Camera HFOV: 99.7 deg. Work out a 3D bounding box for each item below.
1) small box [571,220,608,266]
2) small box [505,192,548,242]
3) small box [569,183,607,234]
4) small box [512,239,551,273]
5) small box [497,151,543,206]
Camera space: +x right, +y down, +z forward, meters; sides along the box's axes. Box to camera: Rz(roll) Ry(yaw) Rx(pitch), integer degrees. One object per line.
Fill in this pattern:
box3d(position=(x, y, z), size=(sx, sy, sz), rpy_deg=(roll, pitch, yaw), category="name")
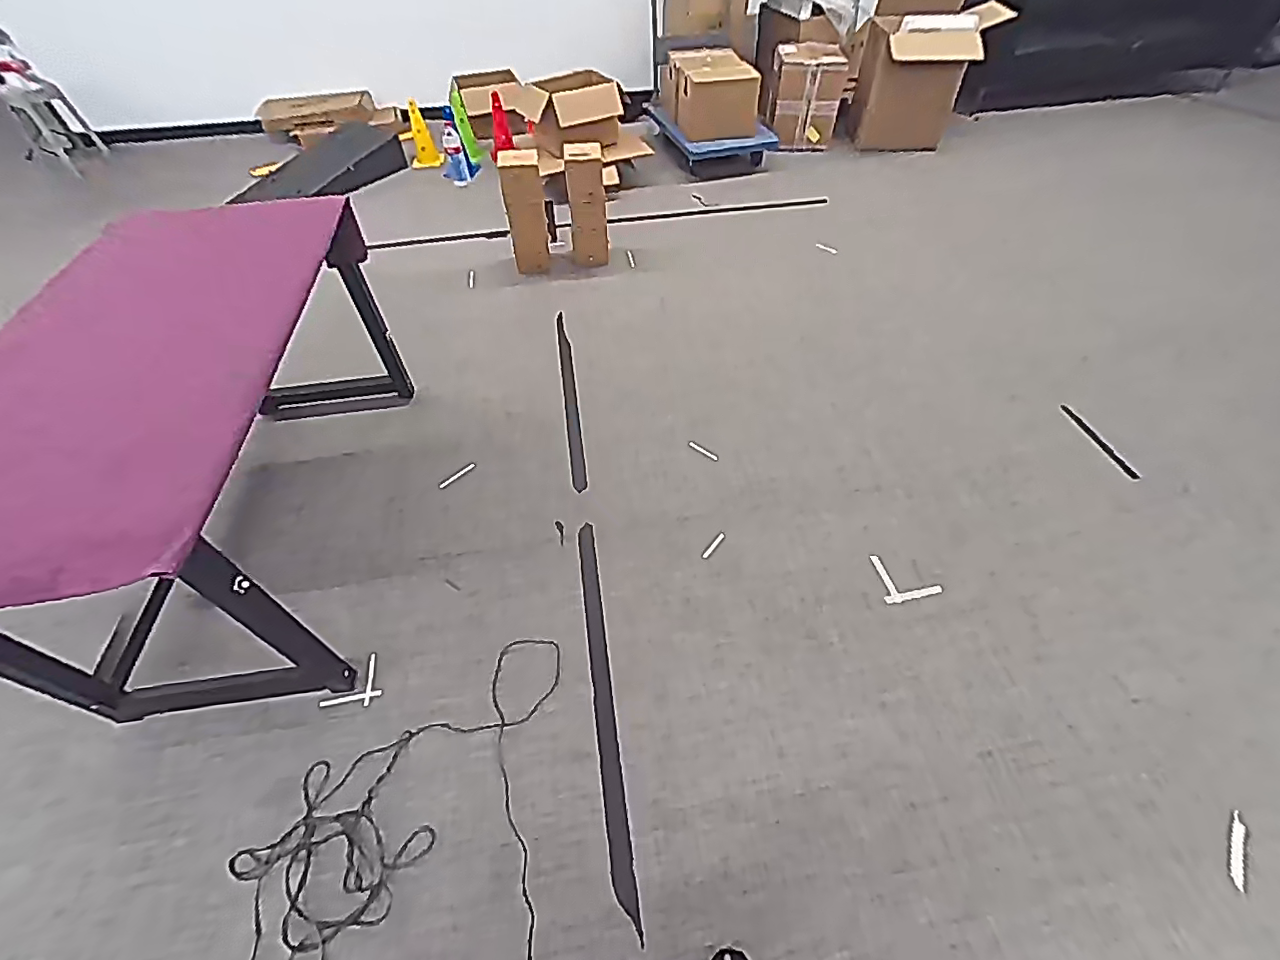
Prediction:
box3d(position=(-0.250, -1.189, 2.706), size=(0.179, 0.176, 0.168), rpy_deg=(-3, 51, -3), category="small box")
box3d(position=(-0.532, -1.237, 2.539), size=(0.179, 0.176, 0.168), rpy_deg=(-7, 51, -7), category="small box")
box3d(position=(-0.248, -1.289, 2.574), size=(0.168, 0.176, 0.179), rpy_deg=(-5, 50, -4), category="small box")
box3d(position=(-0.536, -1.141, 2.670), size=(0.168, 0.176, 0.179), rpy_deg=(-8, 50, -7), category="small box")
box3d(position=(-0.534, -1.342, 2.412), size=(0.179, 0.176, 0.168), rpy_deg=(-6, 52, -7), category="small box")
